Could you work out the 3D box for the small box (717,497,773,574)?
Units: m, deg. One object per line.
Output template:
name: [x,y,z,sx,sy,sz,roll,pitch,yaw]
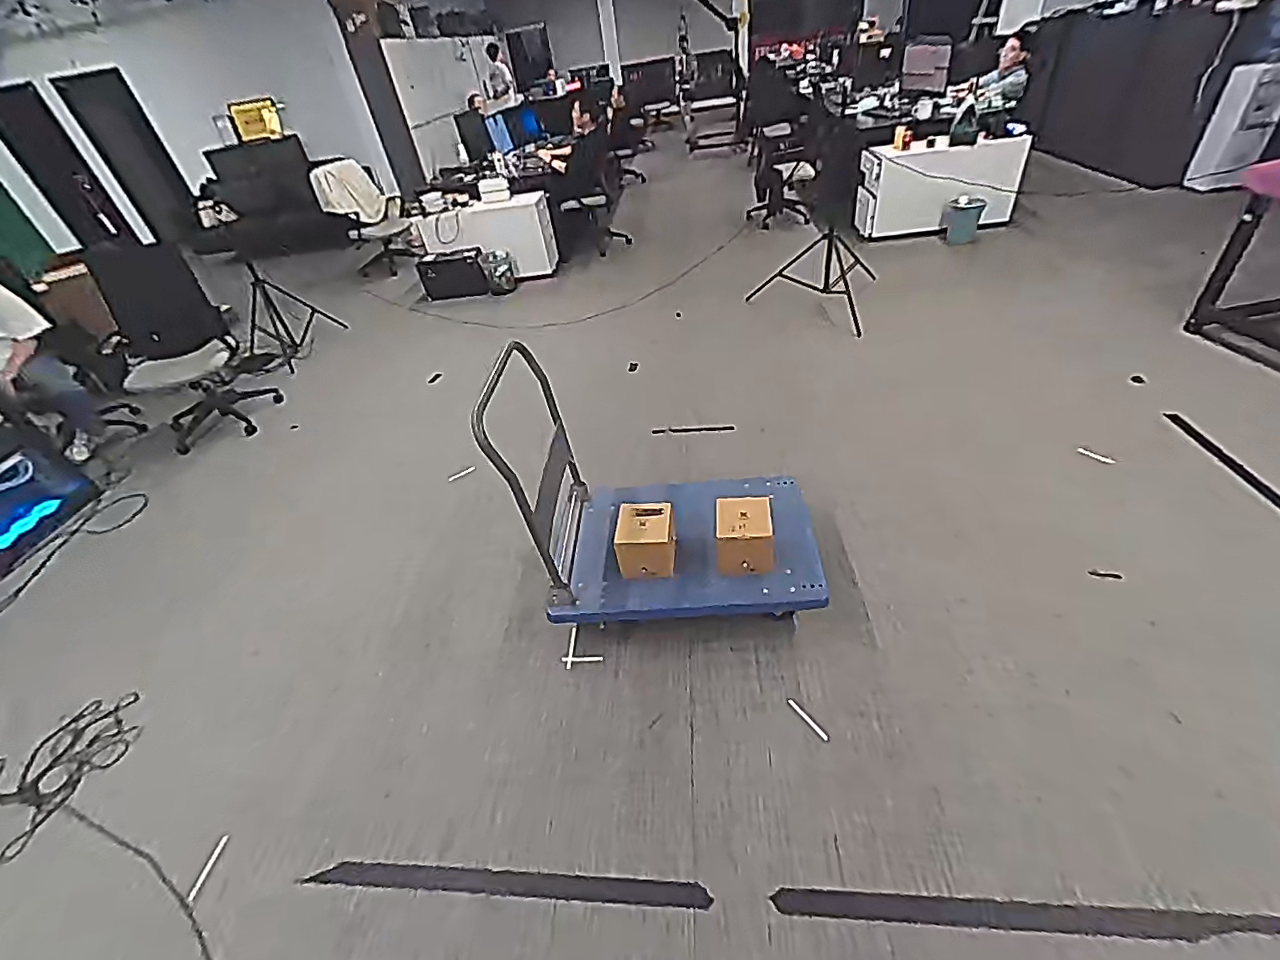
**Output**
small box: [0.328,0.174,1.699,0.168,0.176,0.179,-3,40,10]
